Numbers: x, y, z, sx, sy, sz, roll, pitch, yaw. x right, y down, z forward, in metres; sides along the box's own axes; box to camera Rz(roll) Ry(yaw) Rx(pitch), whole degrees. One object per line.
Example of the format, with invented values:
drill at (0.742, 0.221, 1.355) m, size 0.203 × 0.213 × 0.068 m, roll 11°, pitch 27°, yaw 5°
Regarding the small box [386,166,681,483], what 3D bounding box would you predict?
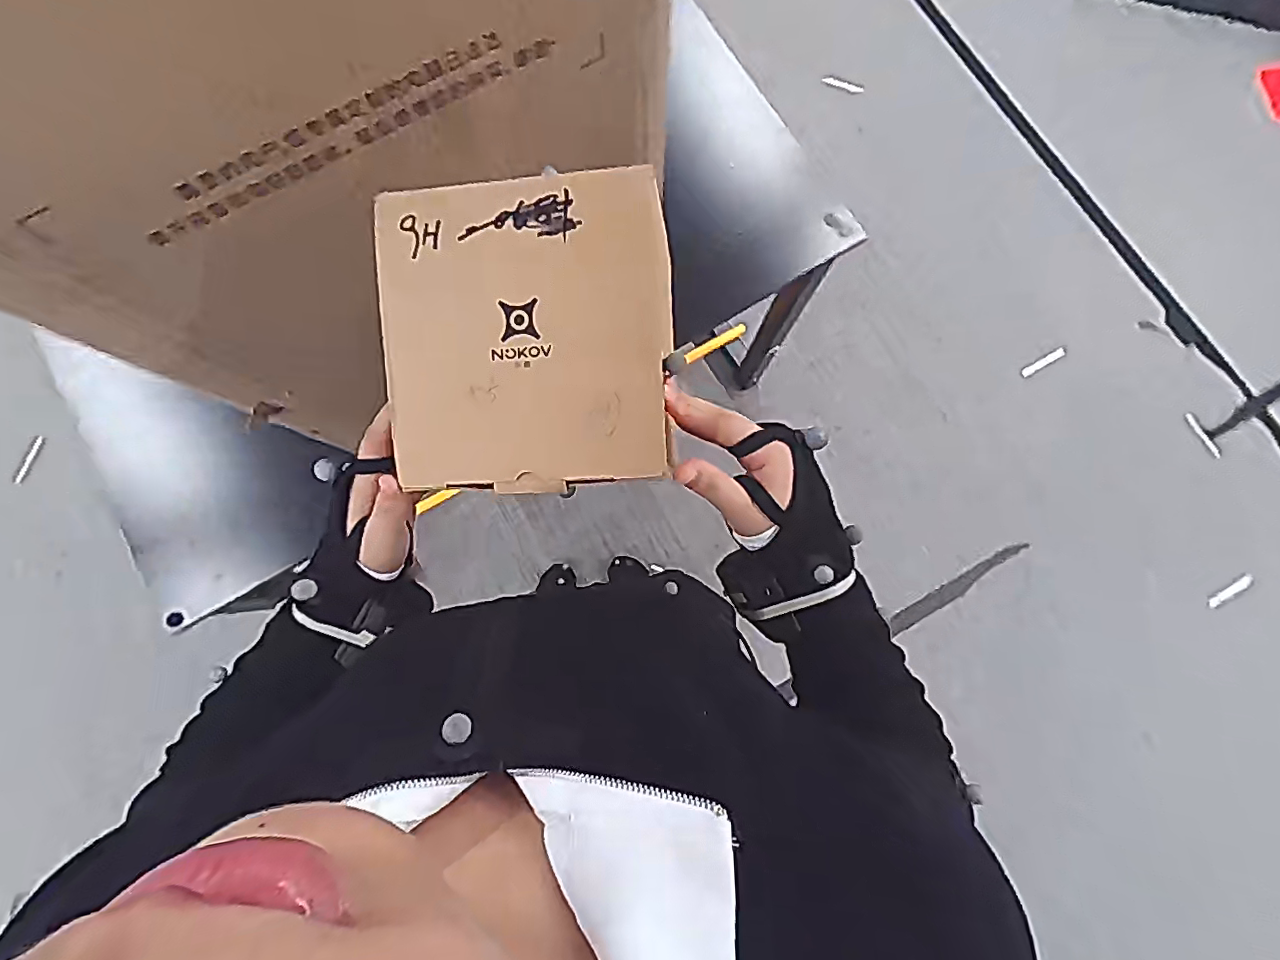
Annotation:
small box at (-0.058, -0.094, 0.398) m, size 0.168 × 0.176 × 0.179 m, roll -2°, pitch 94°, yaw 7°
